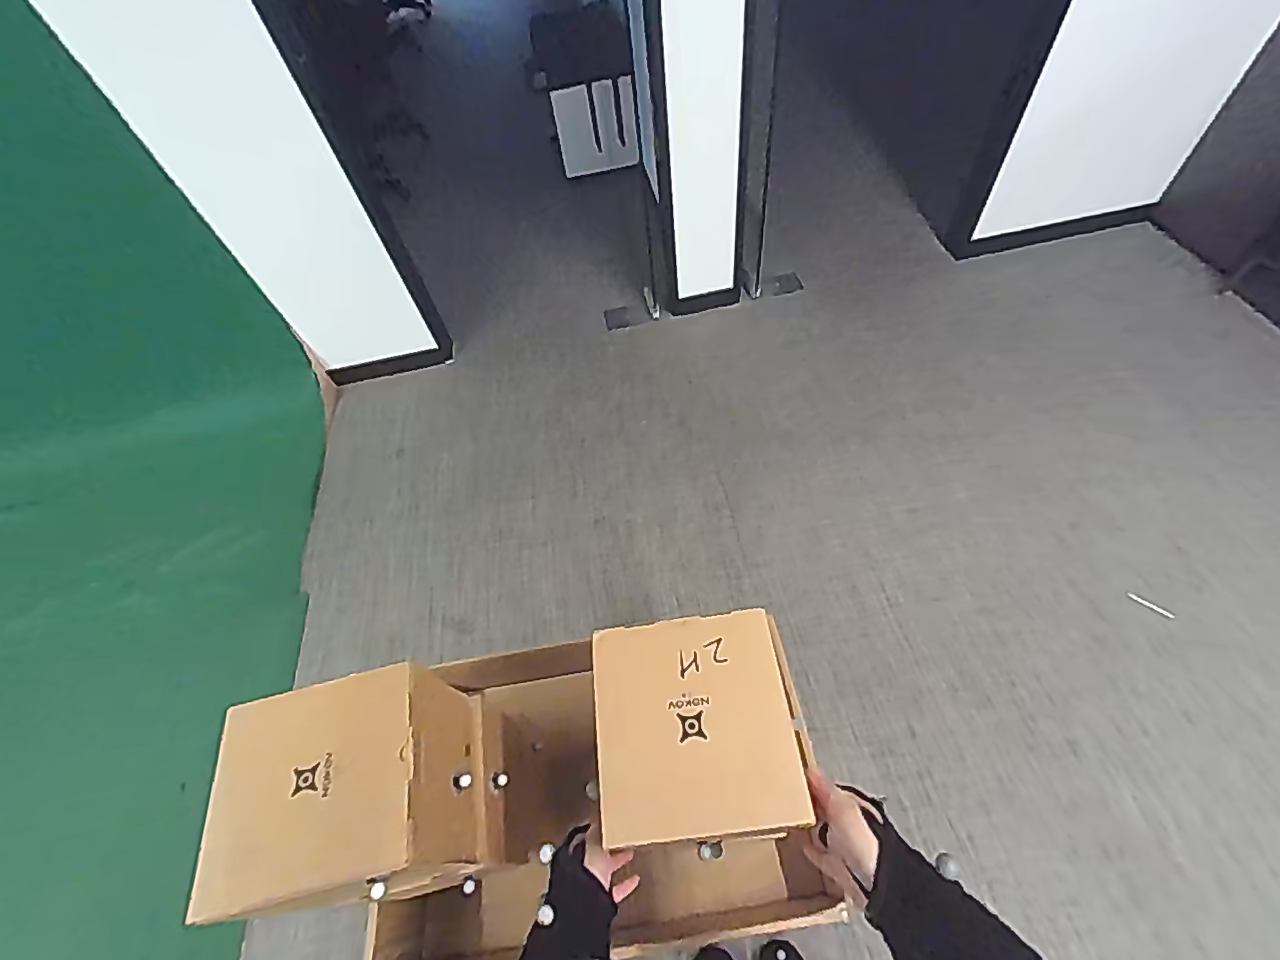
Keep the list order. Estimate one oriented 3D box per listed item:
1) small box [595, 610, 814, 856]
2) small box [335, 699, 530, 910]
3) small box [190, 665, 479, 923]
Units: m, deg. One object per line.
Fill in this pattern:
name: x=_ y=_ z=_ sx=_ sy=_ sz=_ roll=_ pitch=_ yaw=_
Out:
small box: x=0.055 y=0.246 z=0.521 sx=0.168 sy=0.176 sz=0.179 roll=-8 pitch=55 yaw=2
small box: x=-0.241 y=0.393 z=0.664 sx=0.168 sy=0.176 sz=0.179 roll=-13 pitch=55 yaw=-2
small box: x=-0.273 y=0.305 z=0.530 sx=0.179 sy=0.176 sz=0.168 roll=-14 pitch=55 yaw=-4
